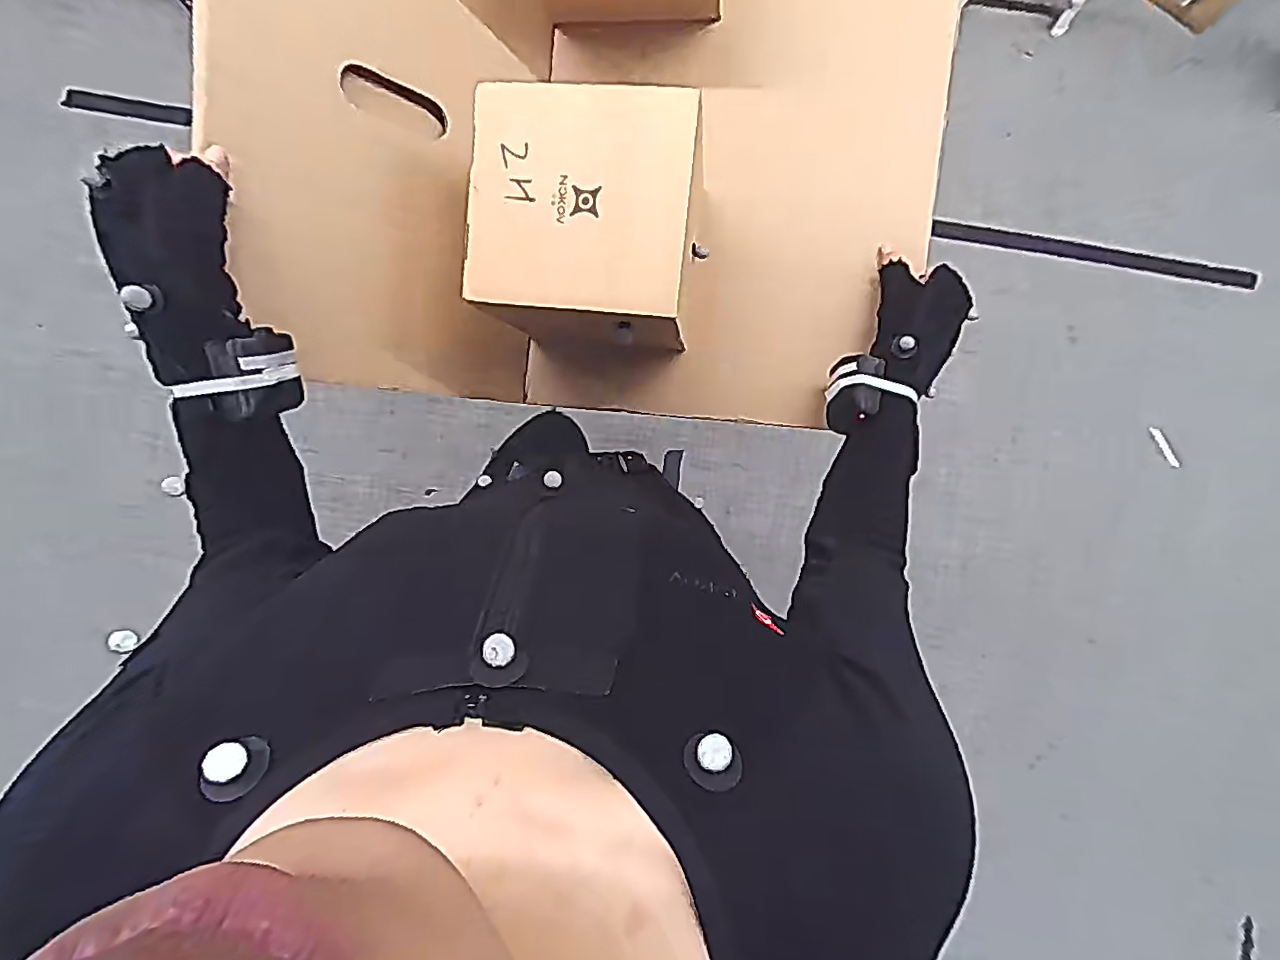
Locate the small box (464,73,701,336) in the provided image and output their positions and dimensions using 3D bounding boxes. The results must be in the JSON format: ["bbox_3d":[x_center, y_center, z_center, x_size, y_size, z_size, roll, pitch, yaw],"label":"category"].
[{"bbox_3d":[-0.039,-0.234,0.501,0.179,0.176,0.168,7,96,8],"label":"small box"}]

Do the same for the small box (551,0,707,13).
[{"bbox_3d":[-0.014,-0.551,0.467,0.179,0.176,0.168,4,96,7],"label":"small box"}]
